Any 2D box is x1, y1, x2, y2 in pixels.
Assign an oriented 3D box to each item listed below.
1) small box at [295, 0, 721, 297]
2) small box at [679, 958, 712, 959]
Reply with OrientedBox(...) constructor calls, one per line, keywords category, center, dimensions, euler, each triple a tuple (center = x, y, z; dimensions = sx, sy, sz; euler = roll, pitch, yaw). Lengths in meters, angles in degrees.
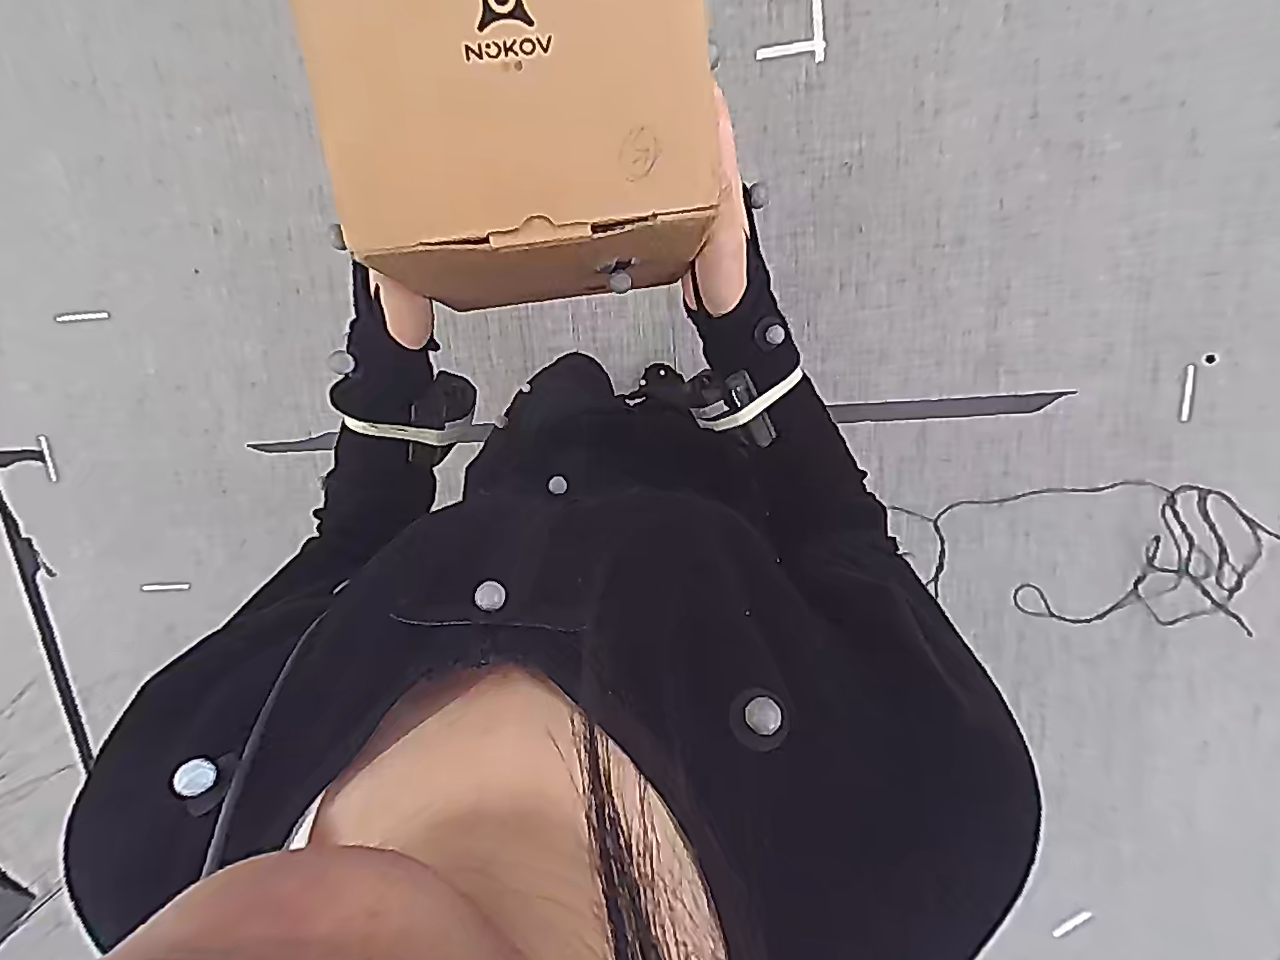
OrientedBox(category="small box", center=(-0.060, -0.206, 0.297), dimensions=(0.168, 0.176, 0.179), euler=(-9, 99, -3))
OrientedBox(category="small box", center=(0.133, 0.879, 0.823), dimensions=(0.168, 0.176, 0.179), euler=(-2, 101, 4))
